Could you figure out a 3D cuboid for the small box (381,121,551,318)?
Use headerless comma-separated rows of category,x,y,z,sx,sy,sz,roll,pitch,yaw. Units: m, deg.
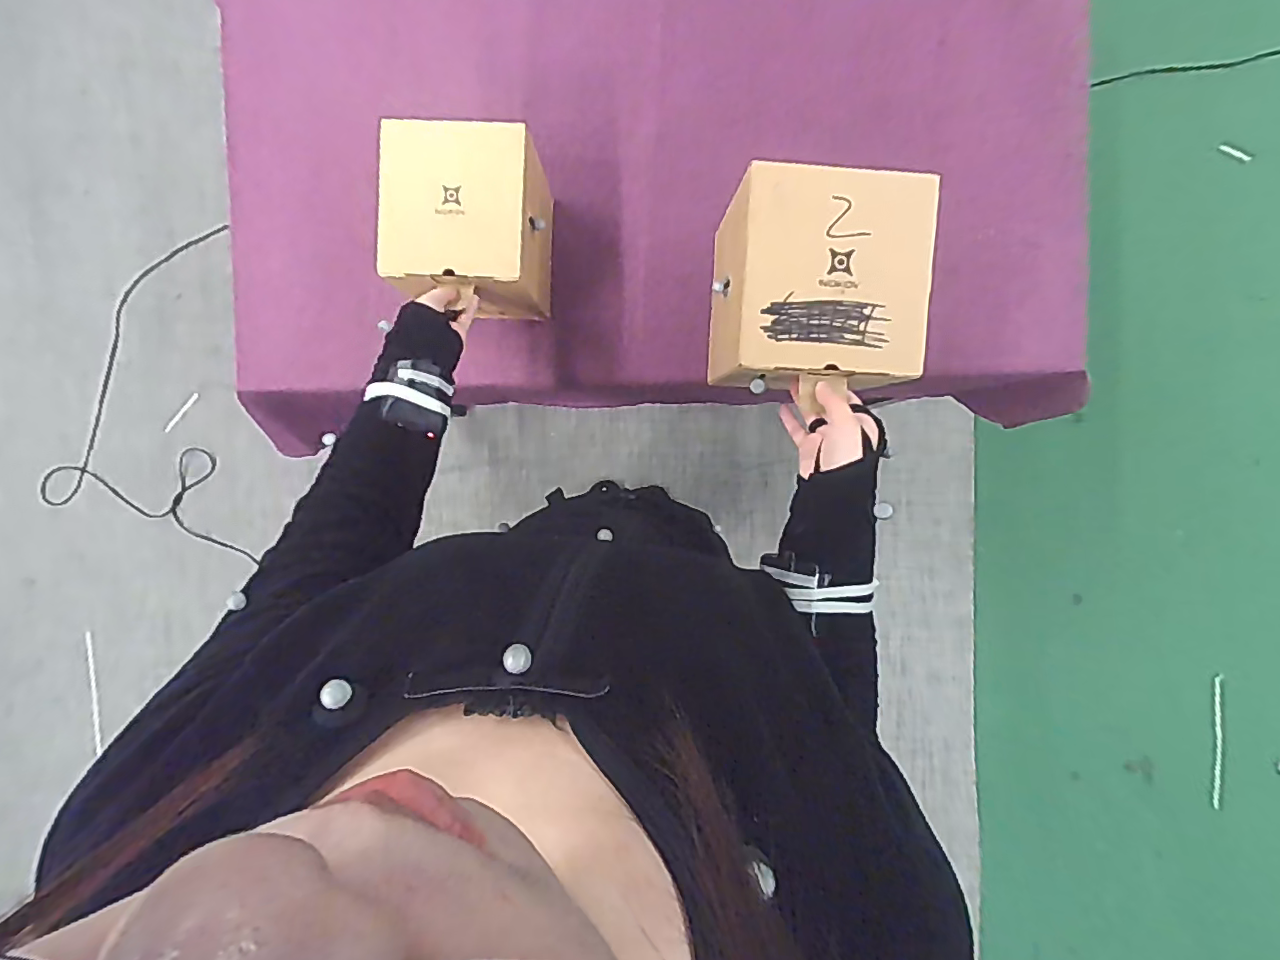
small box,-0.212,-0.324,0.702,0.168,0.176,0.179,3,93,1
